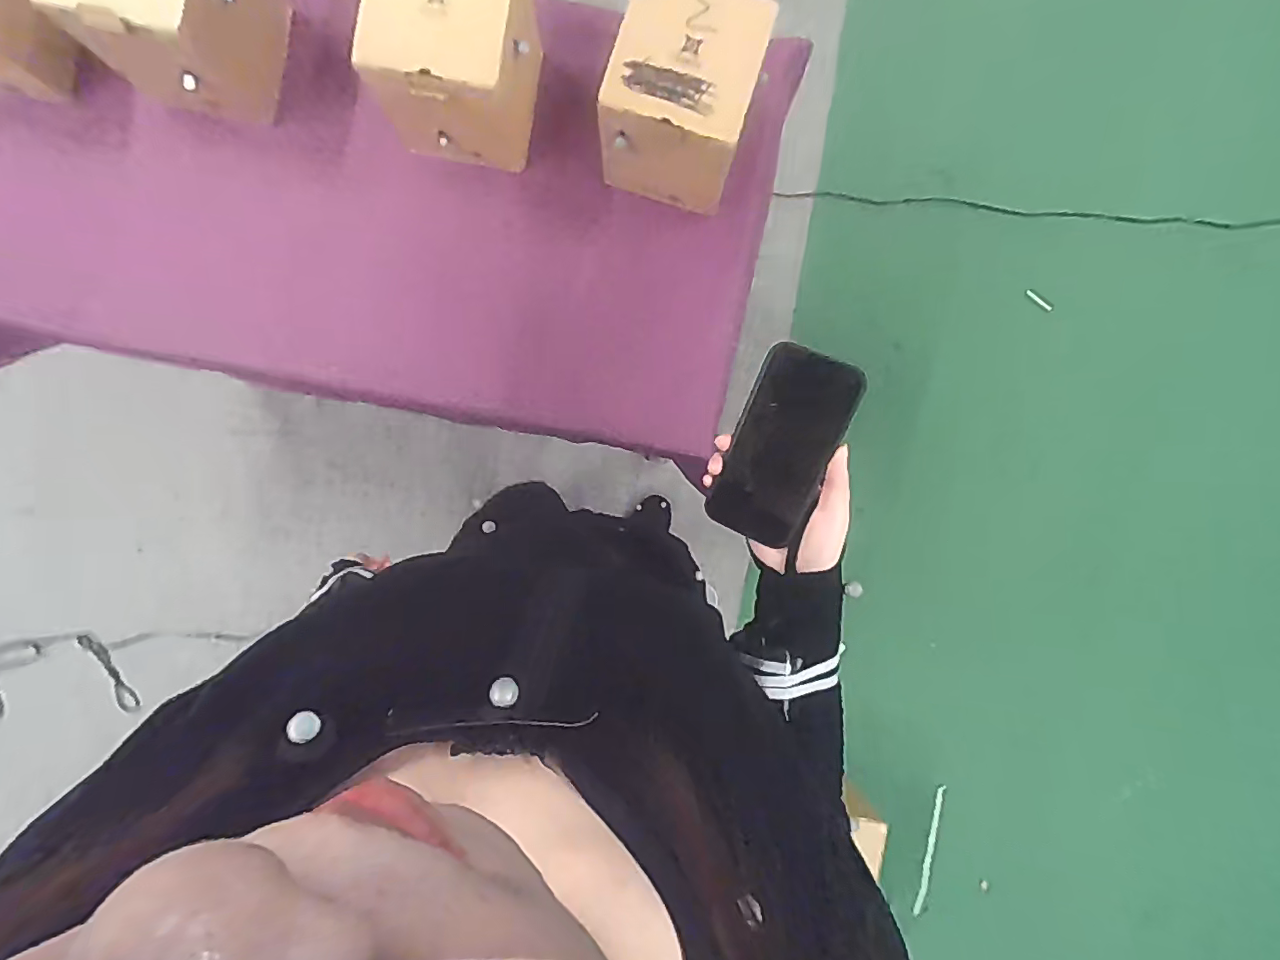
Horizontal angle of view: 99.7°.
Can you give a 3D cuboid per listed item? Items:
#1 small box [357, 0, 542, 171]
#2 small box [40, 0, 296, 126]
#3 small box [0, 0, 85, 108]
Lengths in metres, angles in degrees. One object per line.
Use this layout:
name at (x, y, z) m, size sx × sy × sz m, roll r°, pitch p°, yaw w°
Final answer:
small box at (-0.226, -0.536, 0.688) m, size 0.168 × 0.176 × 0.179 m, roll 9°, pitch 91°, yaw -1°
small box at (-0.571, -0.591, 0.680) m, size 0.168 × 0.176 × 0.179 m, roll 11°, pitch 90°, yaw -2°
small box at (-0.852, -0.613, 0.672) m, size 0.168 × 0.176 × 0.179 m, roll 6°, pitch 90°, yaw -1°
